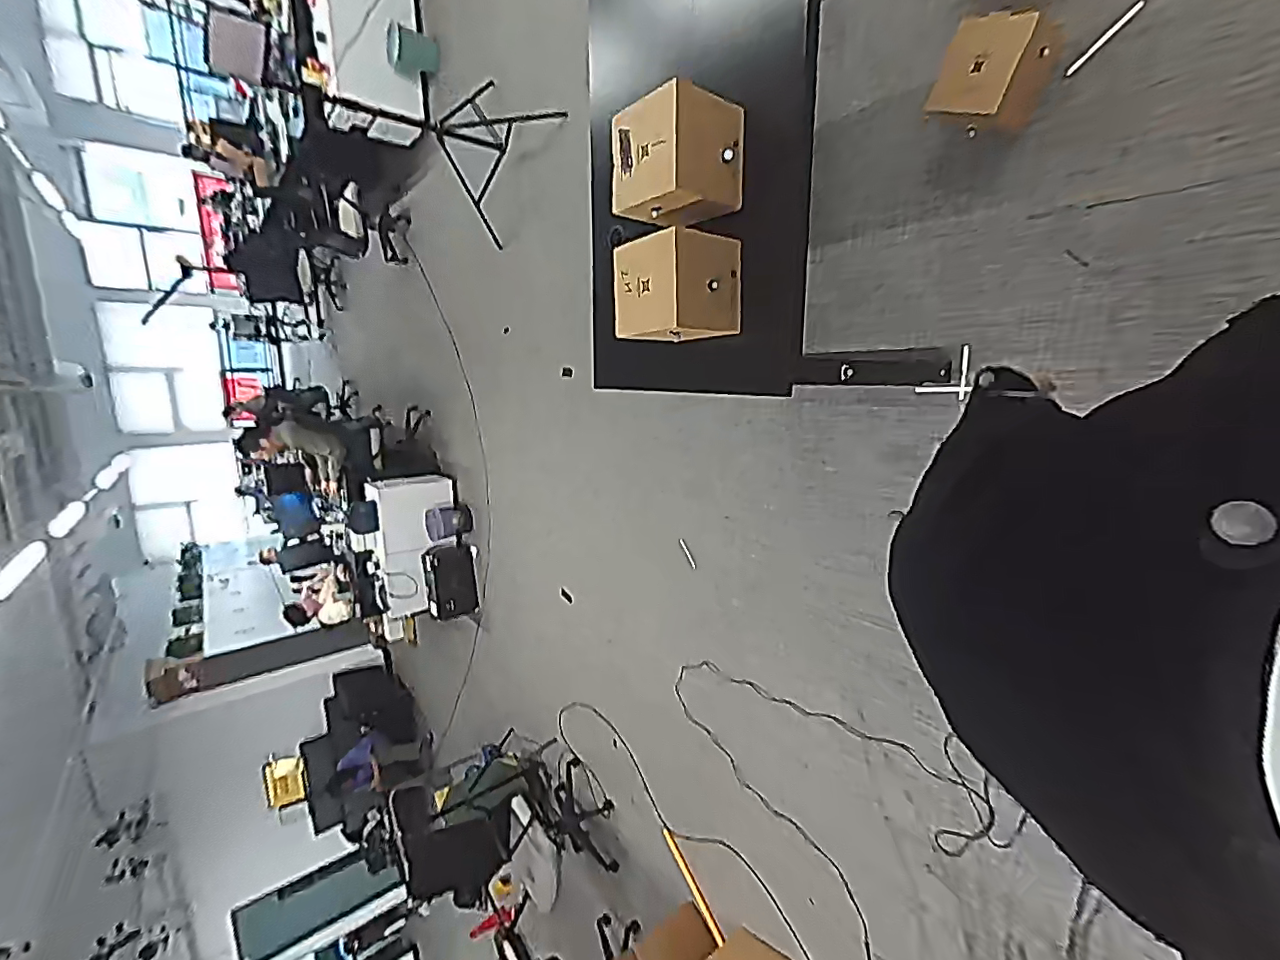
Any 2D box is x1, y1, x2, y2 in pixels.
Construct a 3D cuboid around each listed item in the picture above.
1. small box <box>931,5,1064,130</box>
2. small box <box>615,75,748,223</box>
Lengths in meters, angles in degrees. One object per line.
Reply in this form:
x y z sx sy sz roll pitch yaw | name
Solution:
0.789 -0.899 1.189 0.168 0.176 0.179 41 128 40 | small box
0.071 -0.579 0.977 0.179 0.176 0.168 13 108 49 | small box
